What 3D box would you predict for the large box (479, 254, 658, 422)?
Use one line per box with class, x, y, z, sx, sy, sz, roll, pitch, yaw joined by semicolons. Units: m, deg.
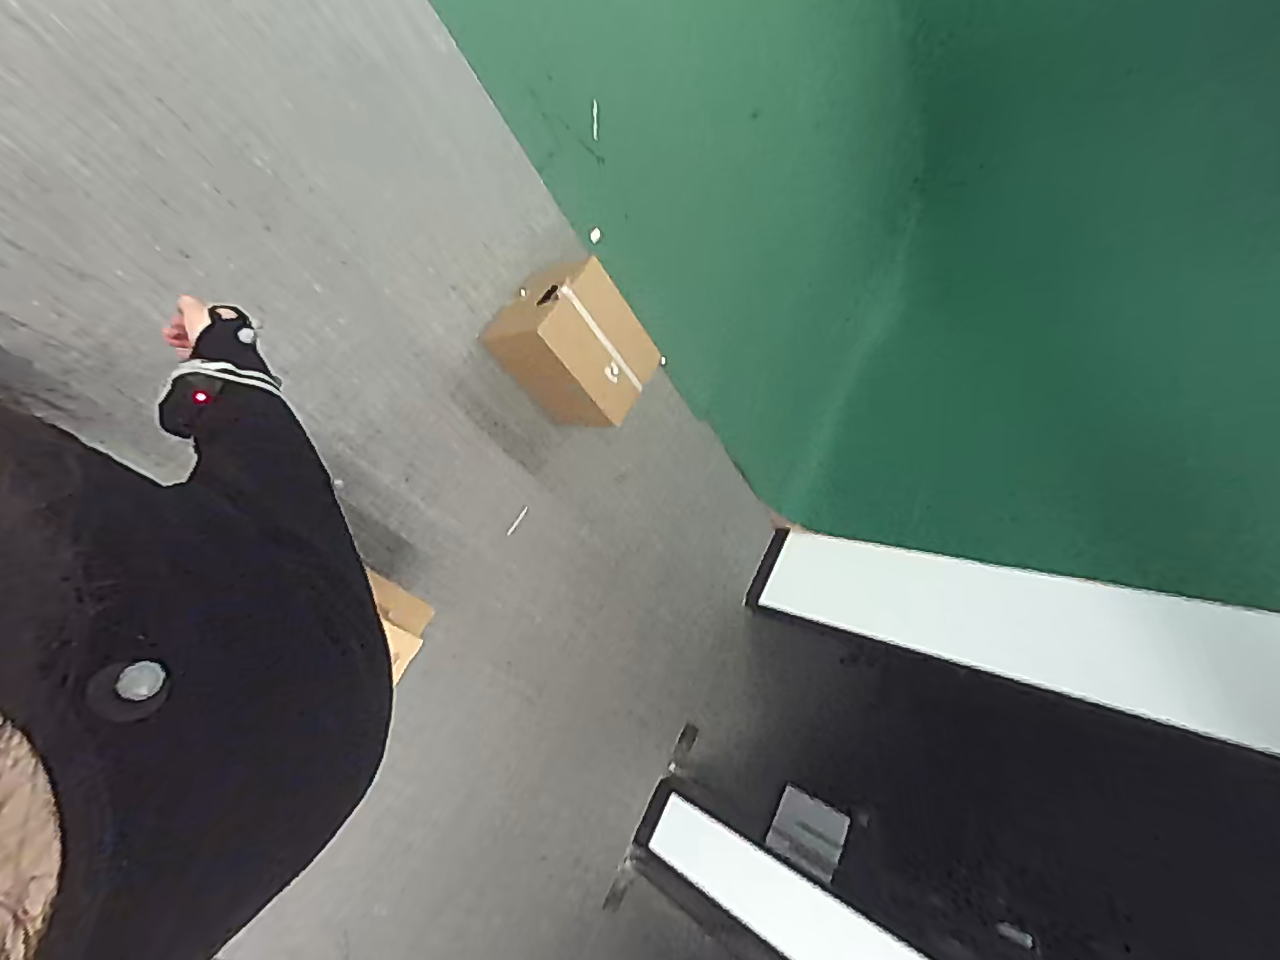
large box;-0.216;-0.427;1.707;0.408;0.320;0.320;50;61;-40
